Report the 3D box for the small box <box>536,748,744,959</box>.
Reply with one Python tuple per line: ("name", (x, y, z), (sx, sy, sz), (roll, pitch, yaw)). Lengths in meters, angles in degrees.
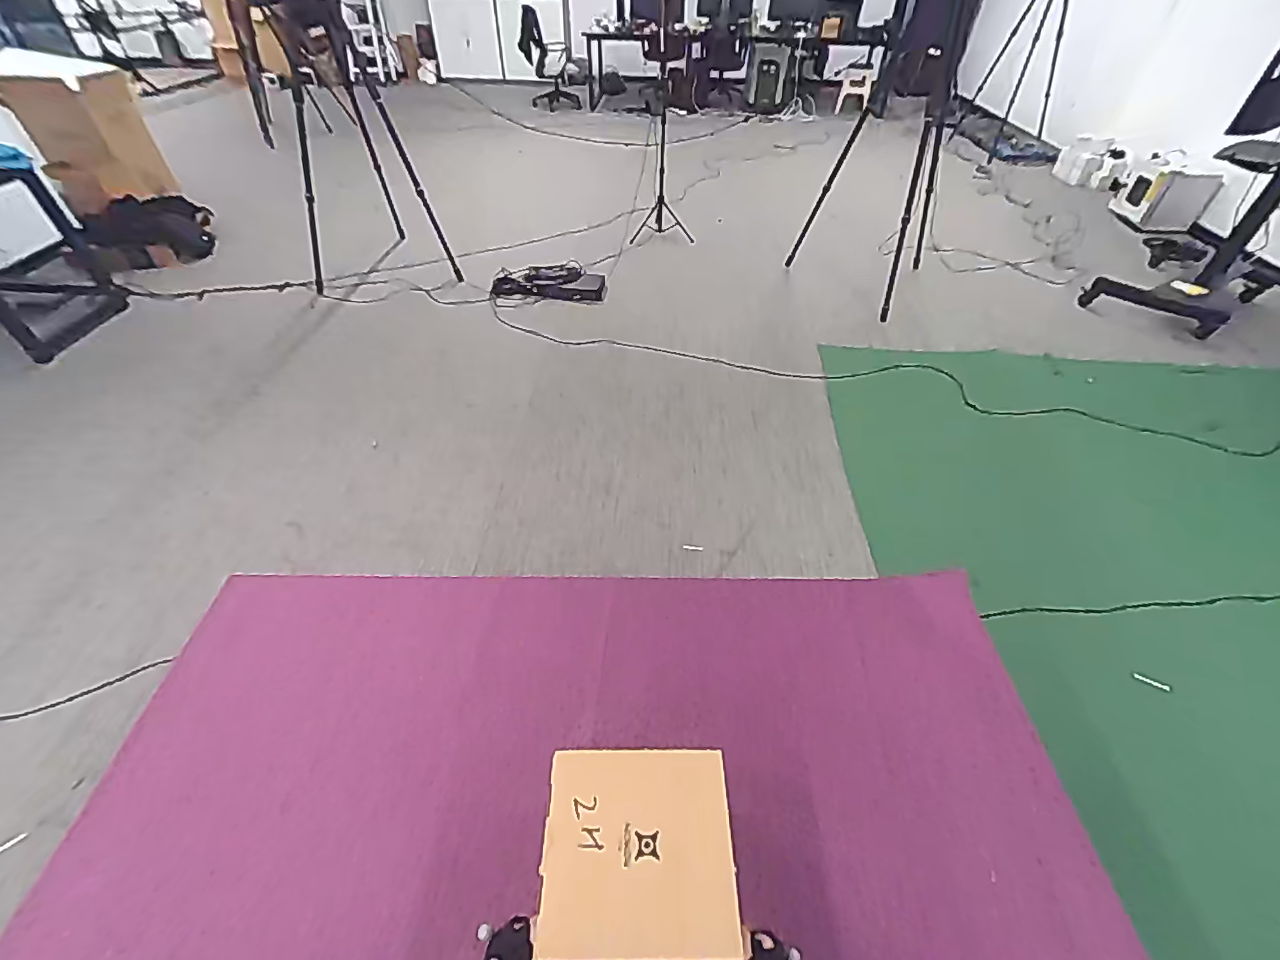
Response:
("small box", (0.000, 0.393, 0.559), (0.179, 0.176, 0.168), (0, 44, 0))
